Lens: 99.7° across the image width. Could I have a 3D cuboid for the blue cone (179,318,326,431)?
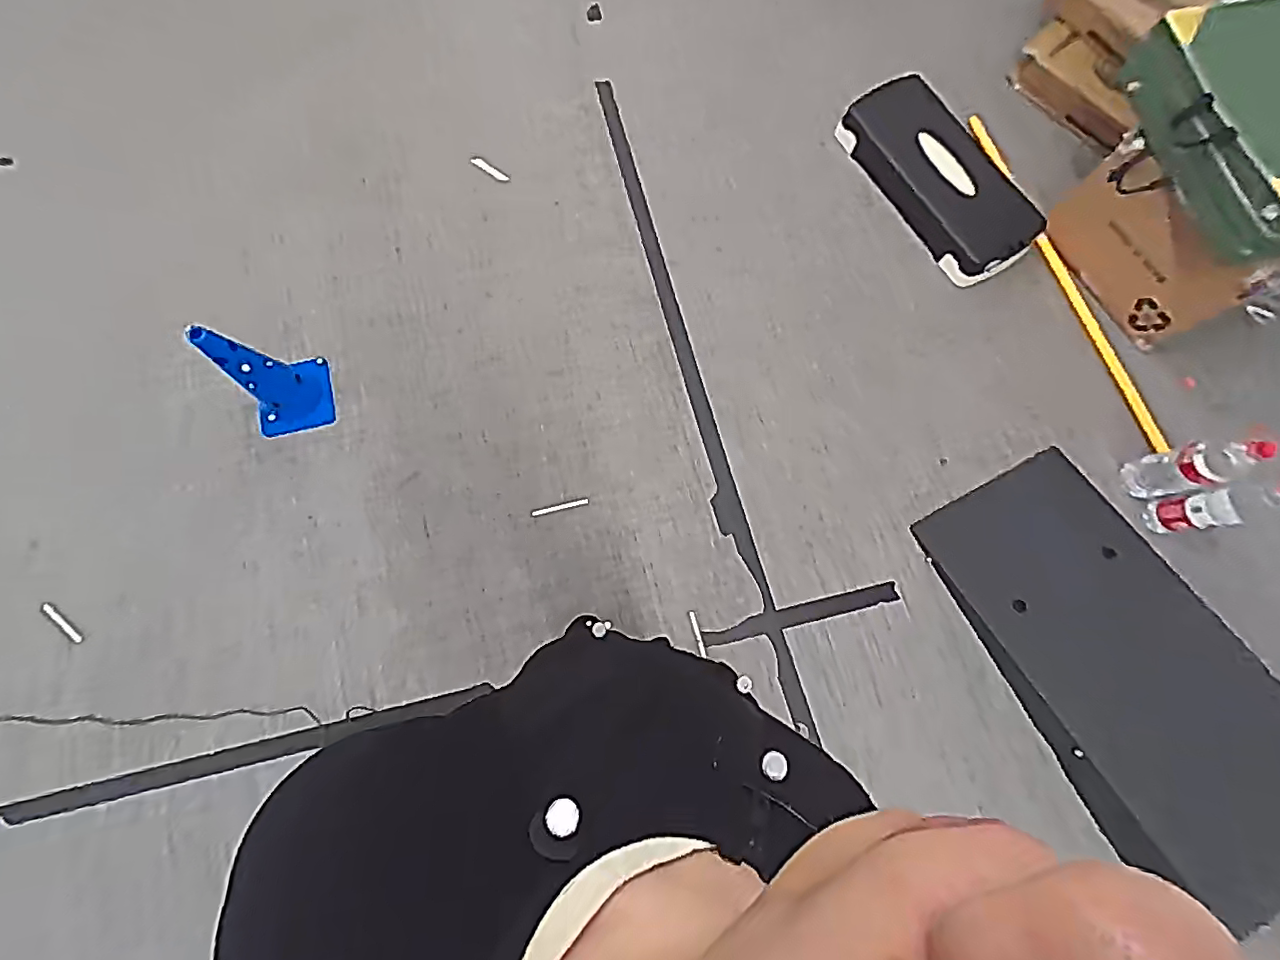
[{"bbox_3d":[-0.949,-0.269,1.309,0.193,0.380,0.192,-13,77,-4],"label":"blue cone"}]
